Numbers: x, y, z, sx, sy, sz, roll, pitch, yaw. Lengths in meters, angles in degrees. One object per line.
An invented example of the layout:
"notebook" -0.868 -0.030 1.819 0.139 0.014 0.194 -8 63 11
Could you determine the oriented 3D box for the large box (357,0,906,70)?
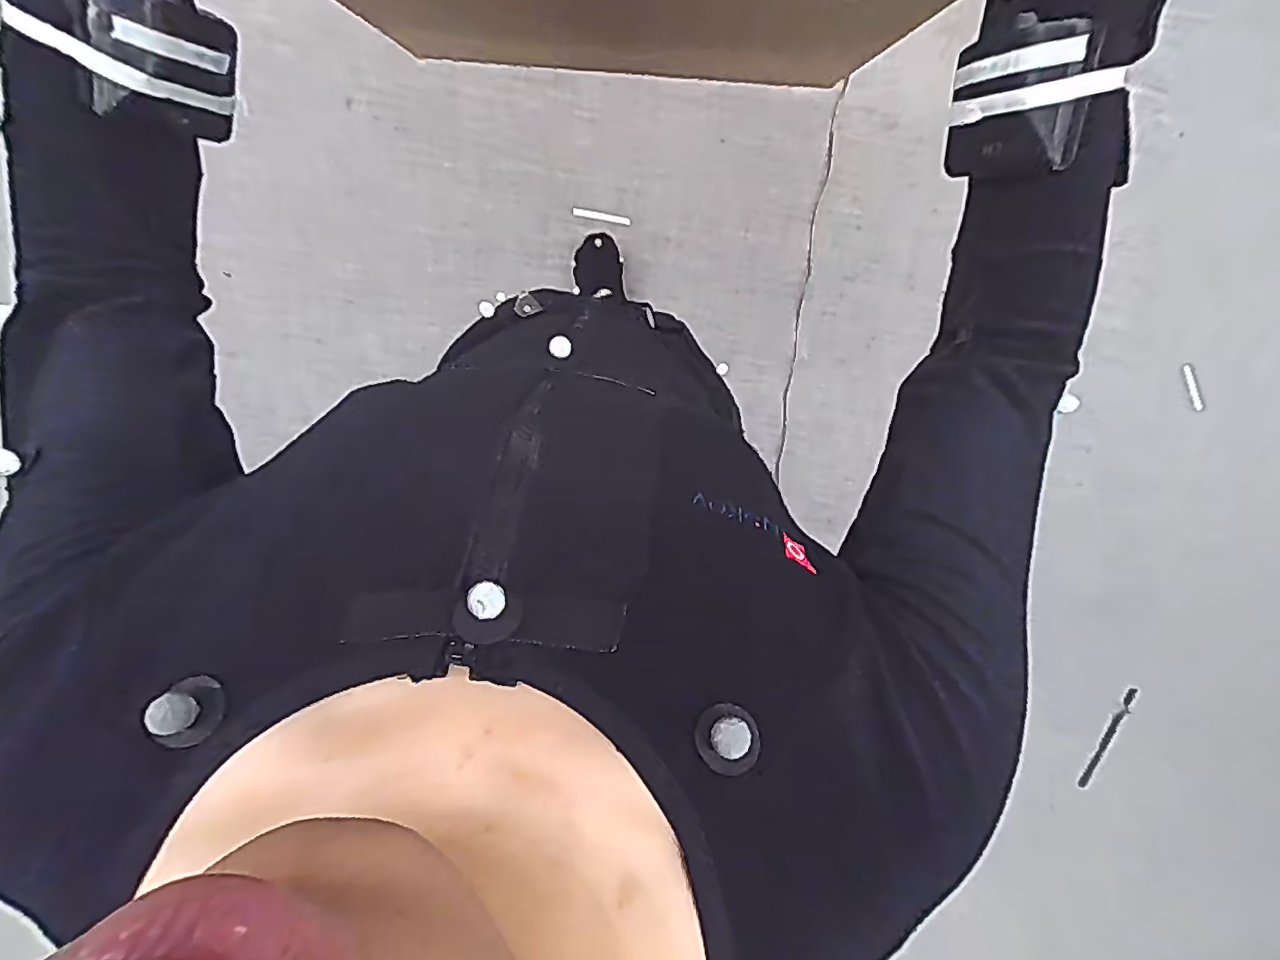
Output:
"large box" -0.009 -0.474 0.321 0.408 0.320 0.320 2 116 -1
